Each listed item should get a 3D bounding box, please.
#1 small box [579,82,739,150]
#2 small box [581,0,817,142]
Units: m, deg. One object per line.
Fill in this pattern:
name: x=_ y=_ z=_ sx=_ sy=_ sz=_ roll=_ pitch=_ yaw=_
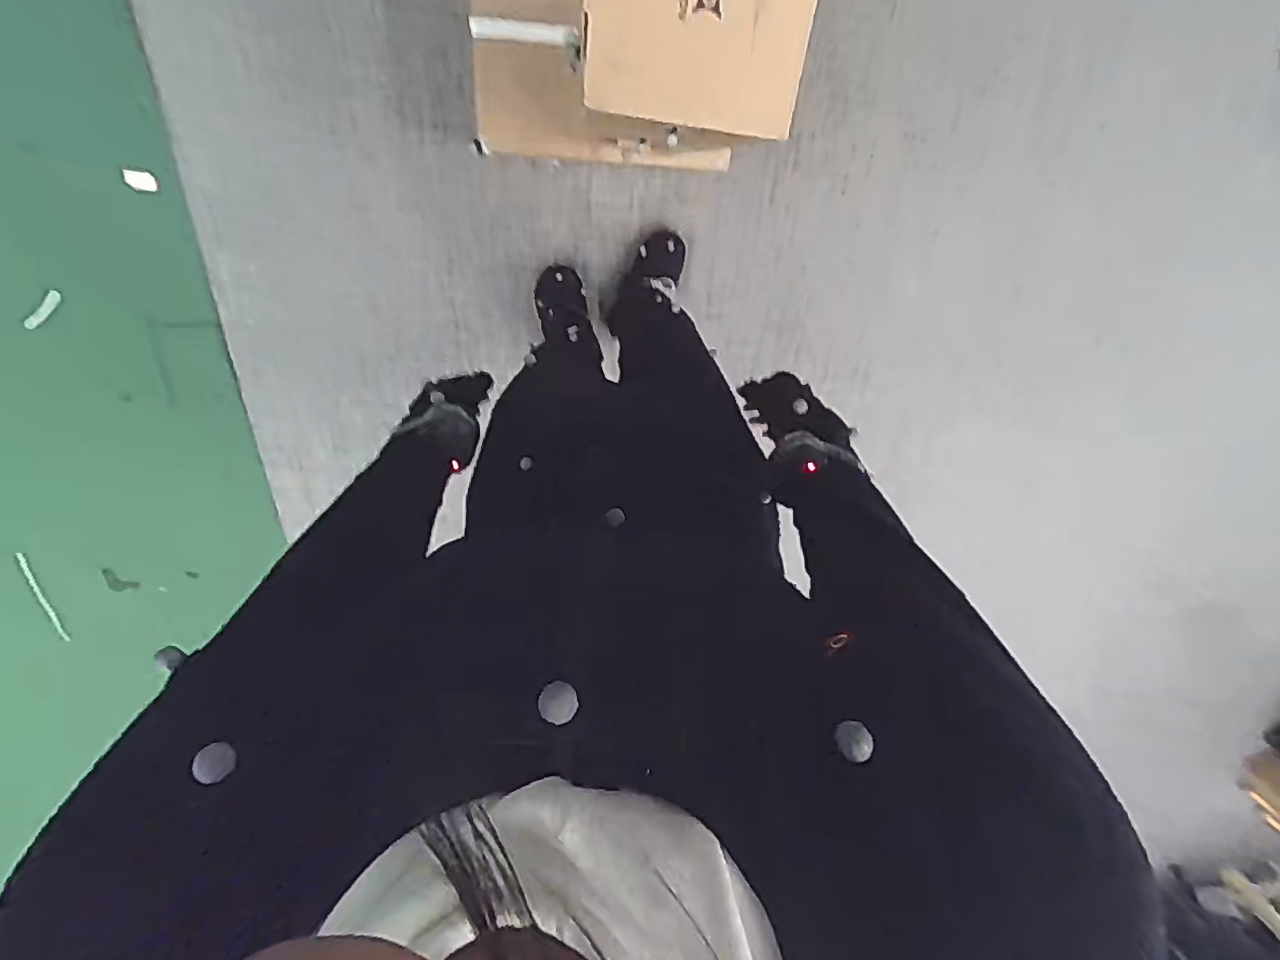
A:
small box: x=0.024 y=-0.479 z=0.611 sx=0.179 sy=0.176 sz=0.168 roll=3 pitch=119 yaw=-7
small box: x=0.040 y=-0.401 z=0.470 sx=0.179 sy=0.176 sz=0.168 roll=2 pitch=120 yaw=-8
